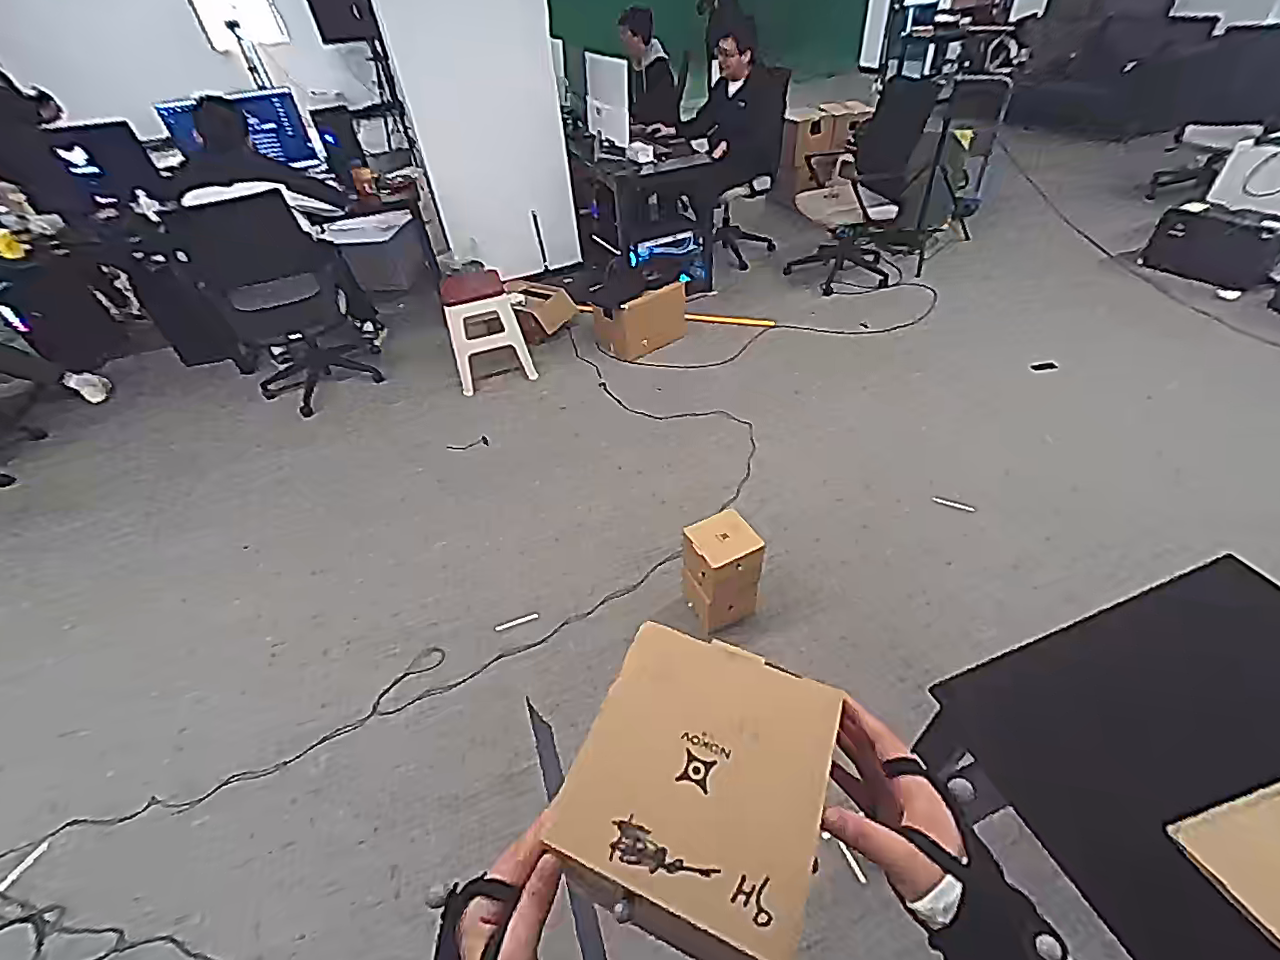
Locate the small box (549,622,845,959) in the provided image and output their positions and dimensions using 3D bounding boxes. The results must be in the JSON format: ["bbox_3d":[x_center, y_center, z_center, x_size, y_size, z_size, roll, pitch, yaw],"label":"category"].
[{"bbox_3d":[0.051,0.253,0.433,0.168,0.176,0.179,14,46,21],"label":"small box"}]

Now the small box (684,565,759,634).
[{"bbox_3d":[0.249,0.350,1.695,0.179,0.176,0.168,-20,45,-14],"label":"small box"}]

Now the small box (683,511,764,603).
[{"bbox_3d":[0.242,0.229,1.587,0.179,0.176,0.168,-21,46,-18],"label":"small box"}]
